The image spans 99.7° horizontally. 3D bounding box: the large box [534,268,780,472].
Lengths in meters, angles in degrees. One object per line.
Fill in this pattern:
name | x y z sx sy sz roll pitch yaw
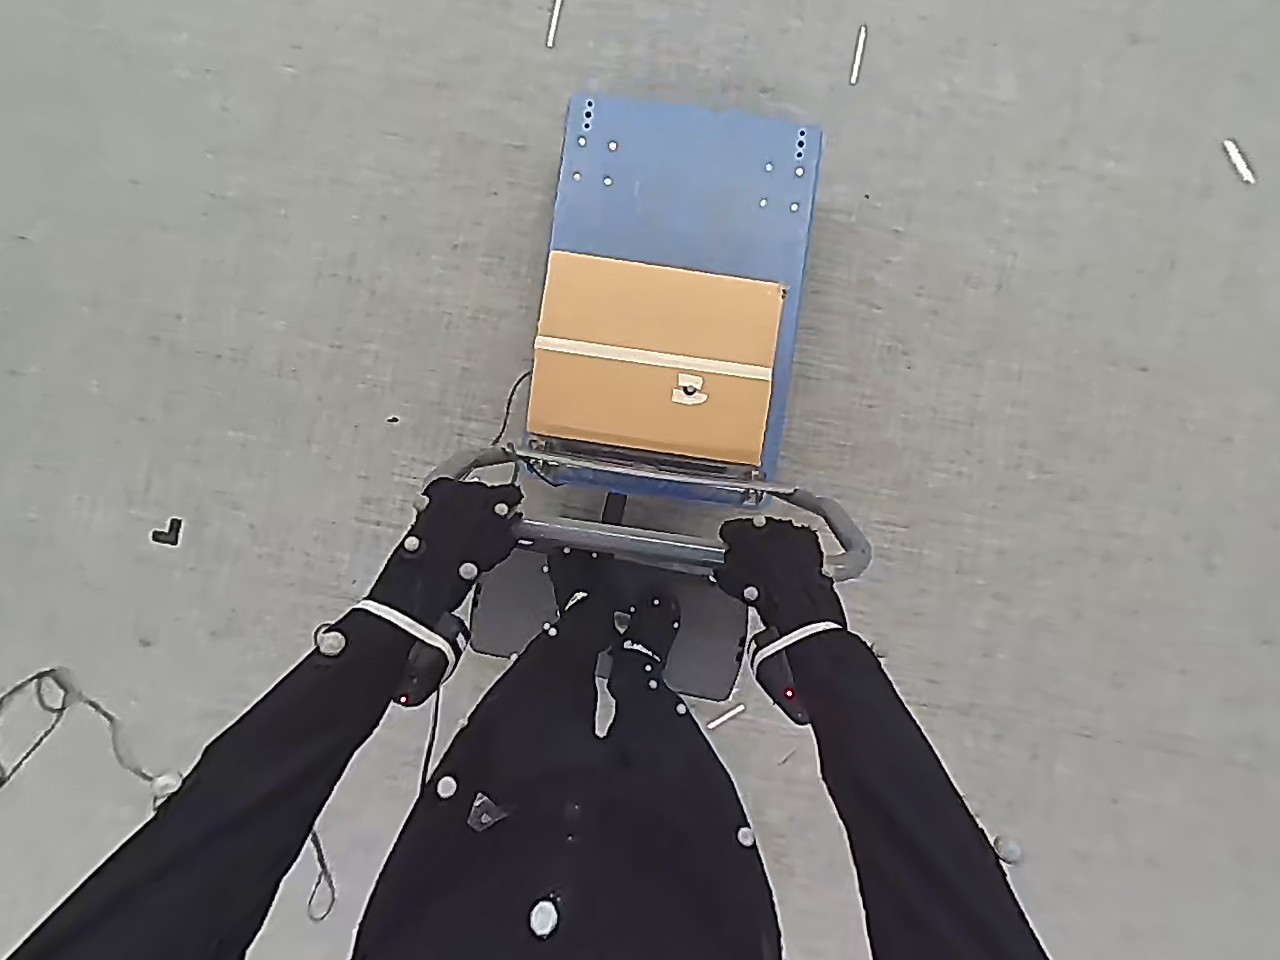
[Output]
large box | 0.026 -0.195 1.091 0.408 0.320 0.320 8 91 -1
